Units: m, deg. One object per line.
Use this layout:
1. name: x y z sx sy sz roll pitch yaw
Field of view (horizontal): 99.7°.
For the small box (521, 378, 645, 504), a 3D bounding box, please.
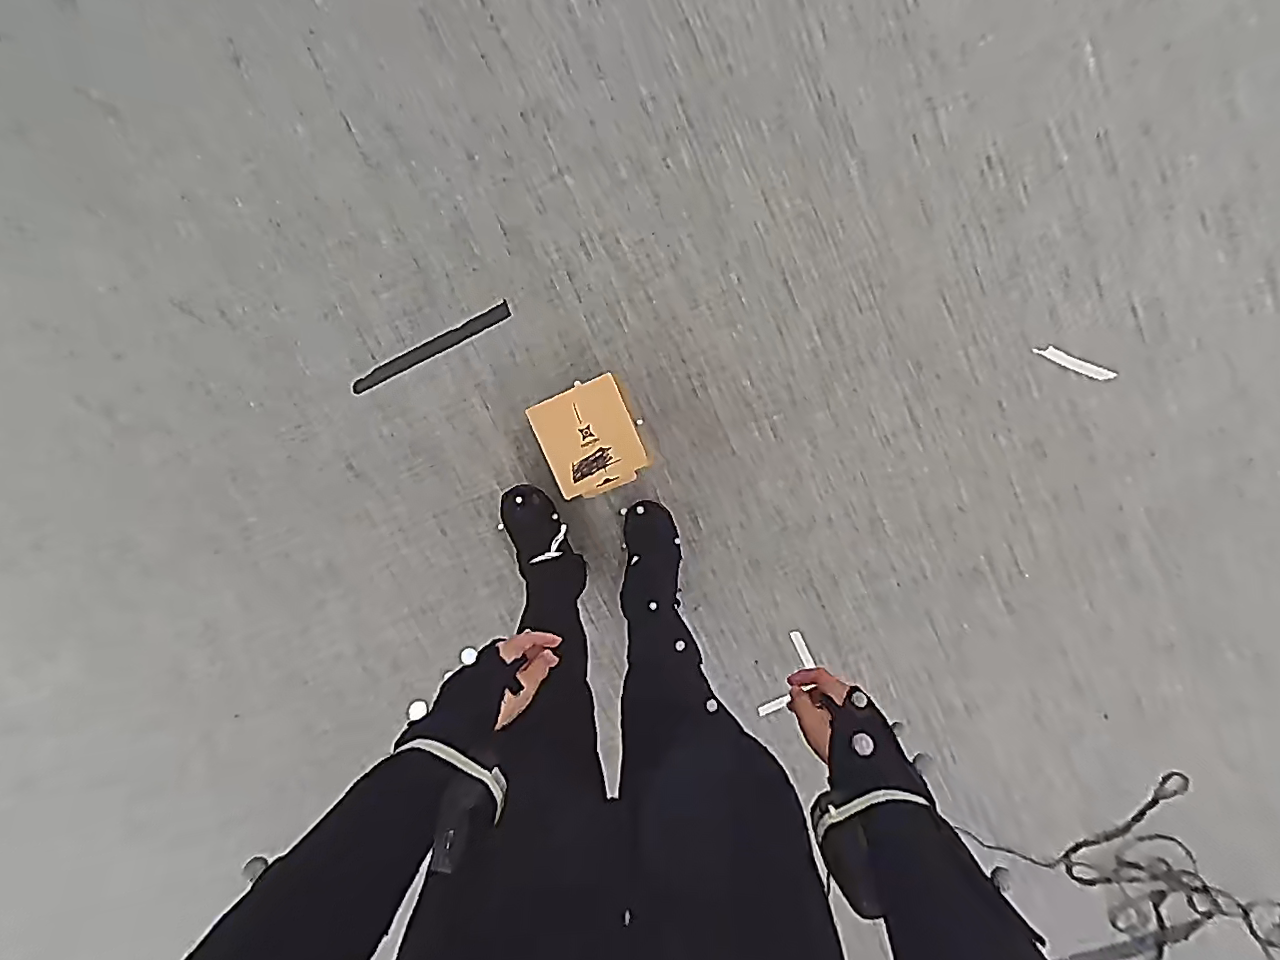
1. small box: -0.094 -0.079 1.008 0.168 0.176 0.179 -23 97 5
